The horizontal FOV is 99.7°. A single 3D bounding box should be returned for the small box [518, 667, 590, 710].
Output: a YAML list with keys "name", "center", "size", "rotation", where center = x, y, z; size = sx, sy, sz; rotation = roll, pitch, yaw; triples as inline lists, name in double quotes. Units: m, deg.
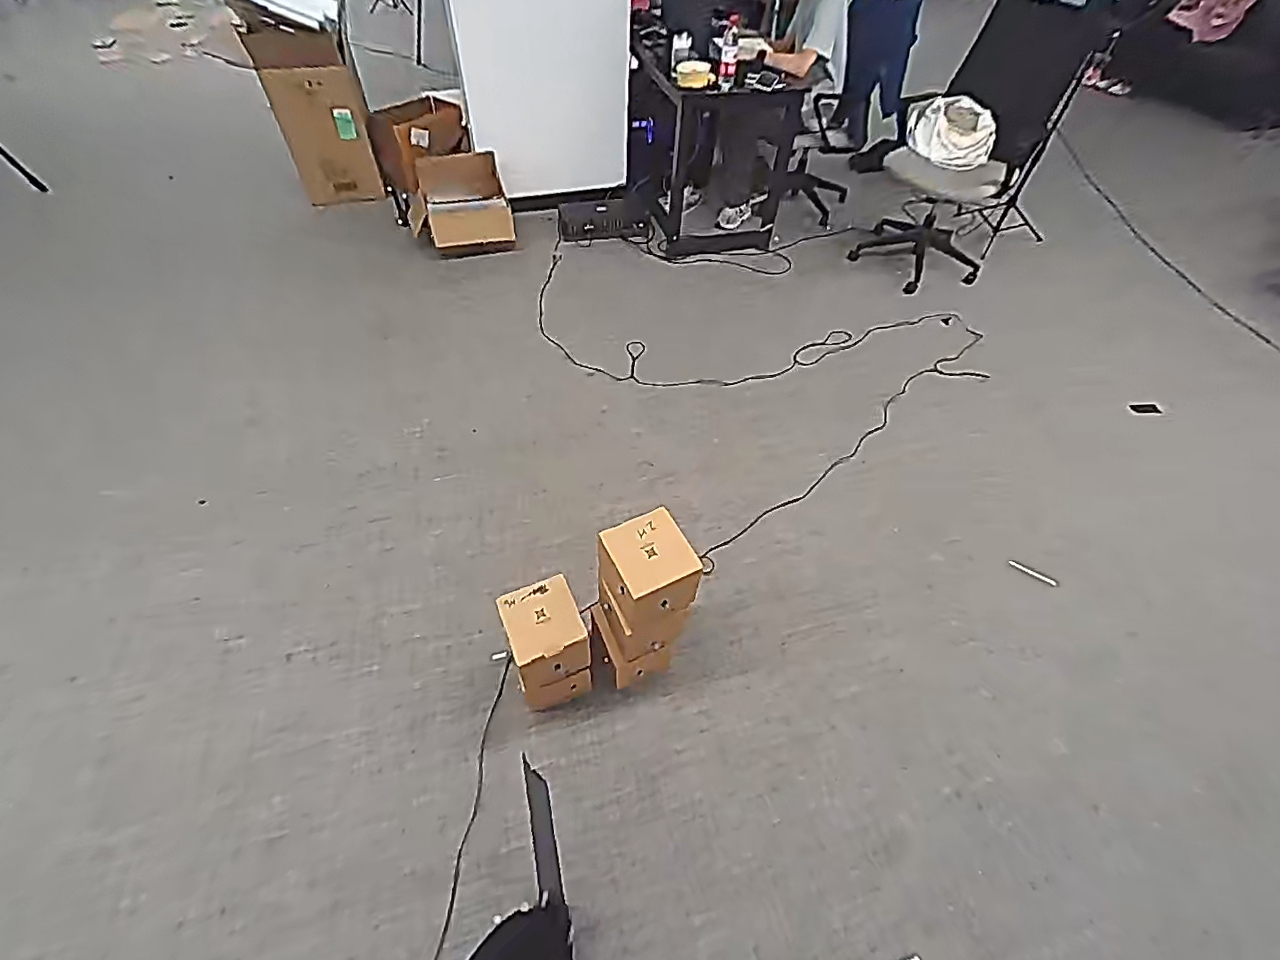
- name: "small box"
  center: [-0.231, 0.475, 1.399]
  size: [0.168, 0.176, 0.179]
  rotation: [-14, 53, -15]

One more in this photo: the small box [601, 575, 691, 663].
- name: "small box"
  center: [0.007, 0.318, 1.326]
  size: [0.168, 0.176, 0.179]
  rotation: [-18, 56, -16]

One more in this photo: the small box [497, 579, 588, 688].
- name: "small box"
  center: [-0.225, 0.368, 1.274]
  size: [0.168, 0.176, 0.179]
  rotation: [-17, 55, -17]

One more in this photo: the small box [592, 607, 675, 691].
- name: "small box"
  center: [-0.023, 0.430, 1.444]
  size: [0.168, 0.176, 0.179]
  rotation: [-18, 55, -17]

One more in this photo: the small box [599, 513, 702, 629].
- name: "small box"
  center: [0.019, 0.209, 1.202]
  size: [0.168, 0.176, 0.179]
  rotation: [-20, 56, -19]
